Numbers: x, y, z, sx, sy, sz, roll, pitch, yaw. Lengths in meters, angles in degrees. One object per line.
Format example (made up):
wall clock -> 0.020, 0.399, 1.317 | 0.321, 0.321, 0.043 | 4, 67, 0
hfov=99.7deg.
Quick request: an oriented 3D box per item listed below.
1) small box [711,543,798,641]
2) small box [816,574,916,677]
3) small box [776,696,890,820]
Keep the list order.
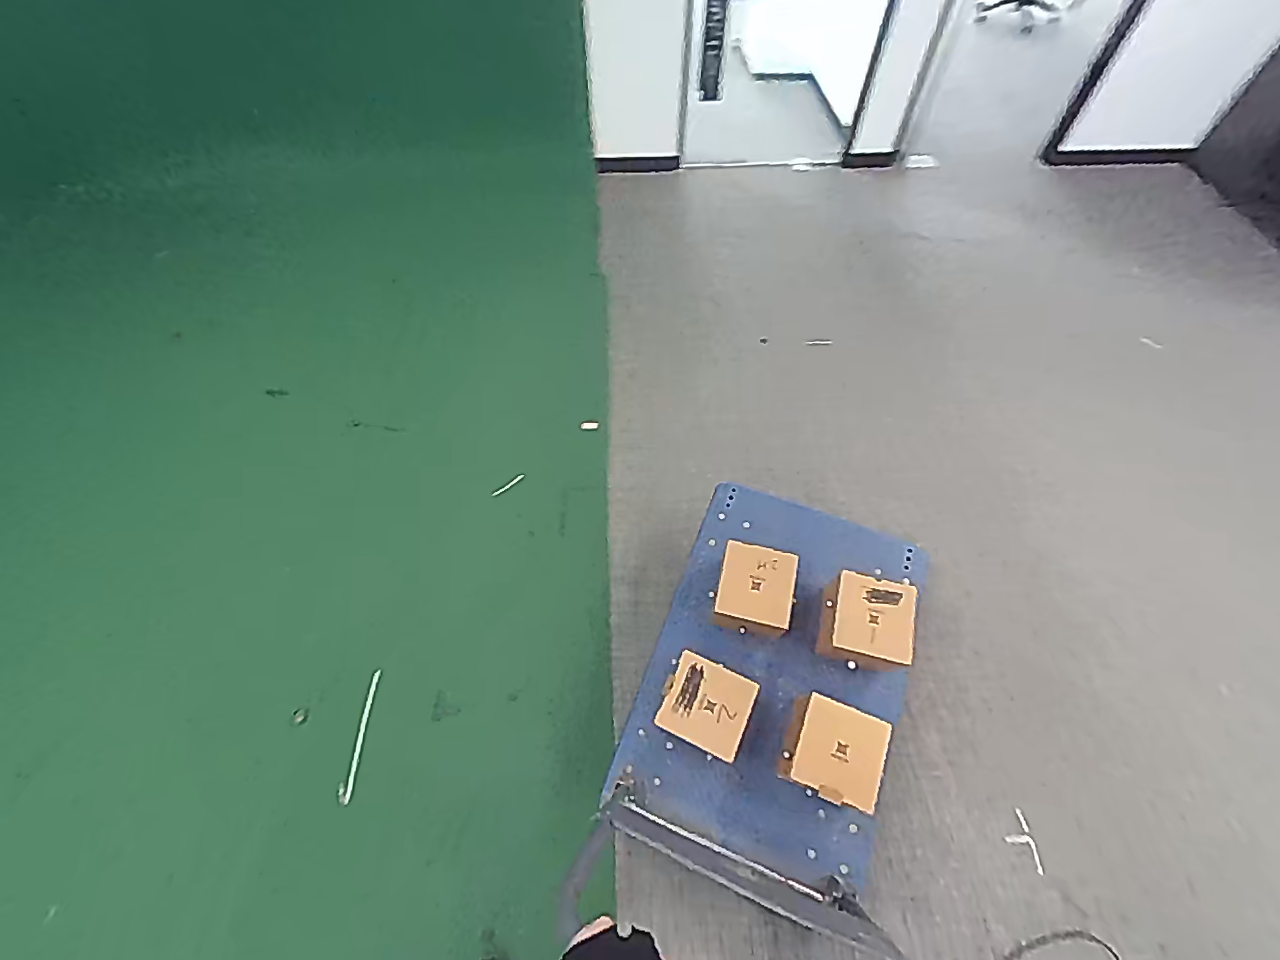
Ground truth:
small box -> 0.269, 0.275, 1.296 | 0.168, 0.176, 0.179 | 13, 66, 8
small box -> 0.518, 0.341, 1.253 | 0.168, 0.176, 0.179 | 13, 67, 10
small box -> 0.401, 0.581, 1.147 | 0.168, 0.176, 0.179 | 21, 68, 12
